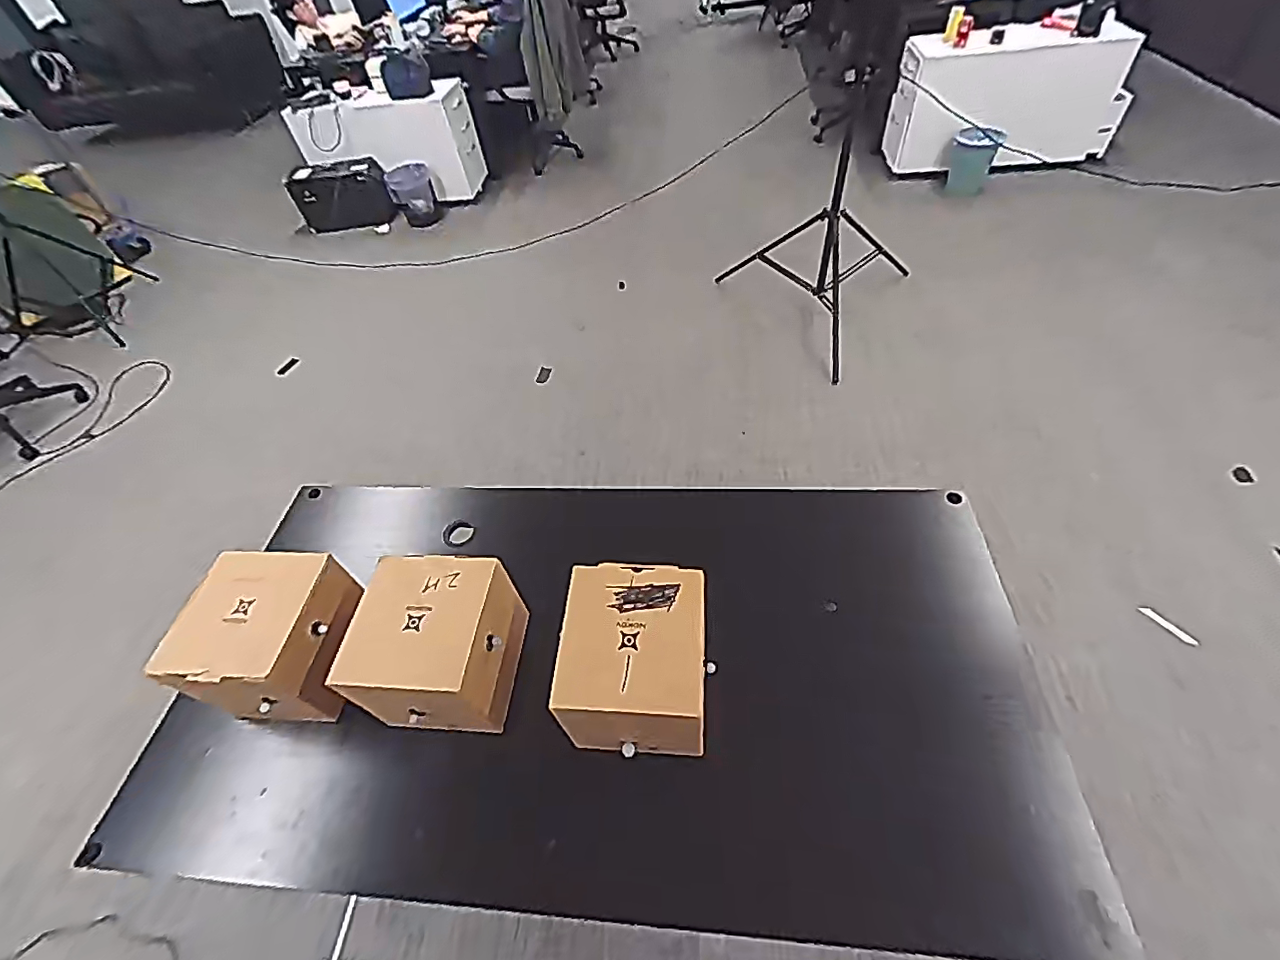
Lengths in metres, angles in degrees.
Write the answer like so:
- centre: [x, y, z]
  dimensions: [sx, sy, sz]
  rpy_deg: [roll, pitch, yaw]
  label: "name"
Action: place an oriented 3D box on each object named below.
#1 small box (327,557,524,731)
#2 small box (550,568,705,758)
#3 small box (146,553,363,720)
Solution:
- centre: [-0.266, 0.222, 0.723]
  dimensions: [0.168, 0.176, 0.179]
  rpy_deg: [1, 50, 7]
  label: "small box"
- centre: [-0.003, 0.231, 0.684]
  dimensions: [0.168, 0.176, 0.179]
  rpy_deg: [0, 51, 7]
  label: "small box"
- centre: [-0.504, 0.221, 0.756]
  dimensions: [0.168, 0.176, 0.179]
  rpy_deg: [0, 49, 5]
  label: "small box"
